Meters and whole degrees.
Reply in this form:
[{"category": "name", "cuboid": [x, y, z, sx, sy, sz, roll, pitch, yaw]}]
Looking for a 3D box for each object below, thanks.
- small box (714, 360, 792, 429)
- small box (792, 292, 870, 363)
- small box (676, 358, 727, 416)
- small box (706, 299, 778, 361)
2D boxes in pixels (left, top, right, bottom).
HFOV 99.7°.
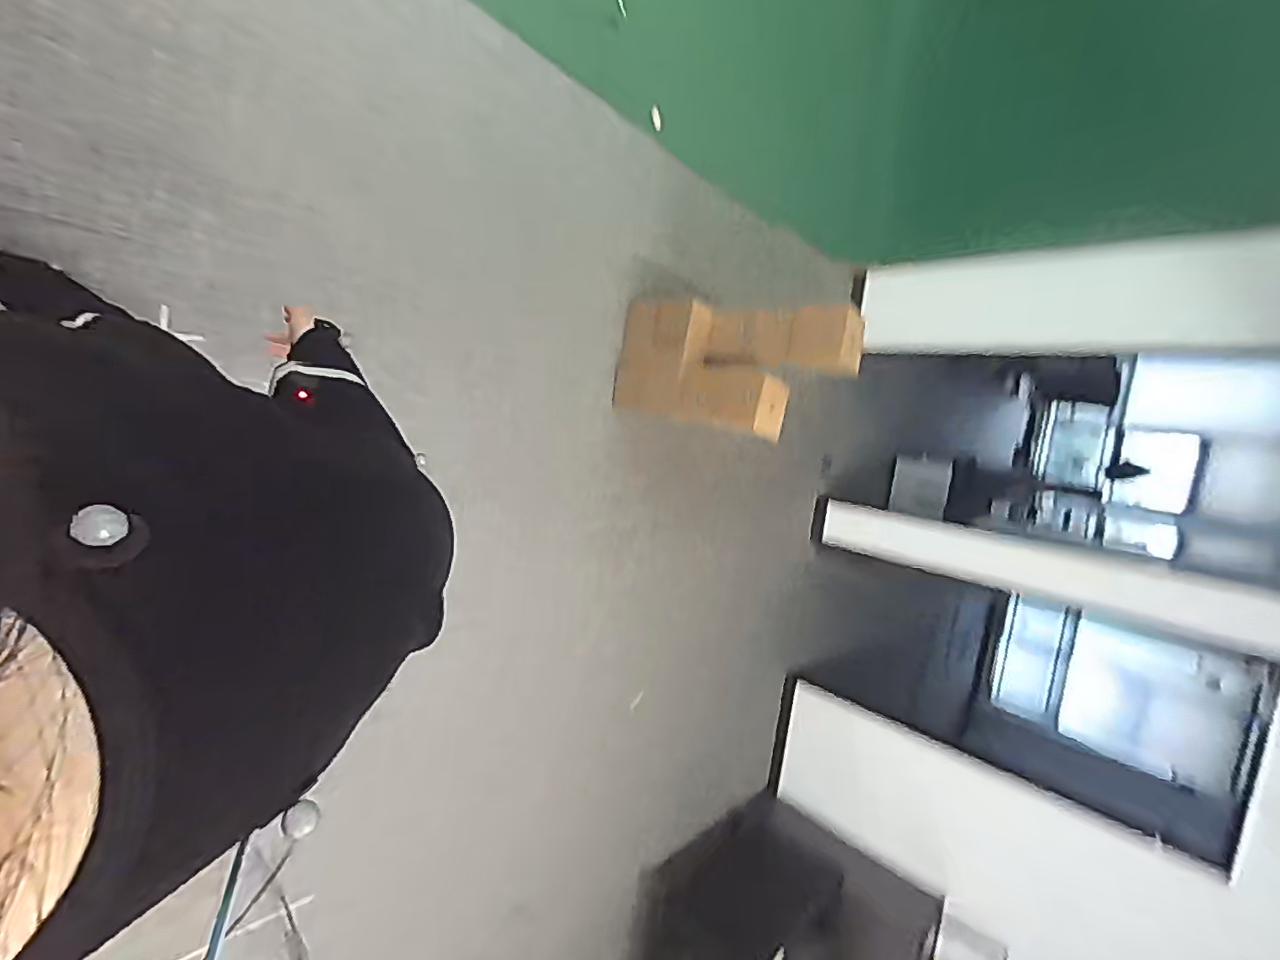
[{"category": "small box", "cuboid": [0.359, -0.275, 1.740, 0.168, 0.176, 0.179, 11, 93, -49]}, {"category": "small box", "cuboid": [0.593, -0.472, 1.688, 0.168, 0.176, 0.179, 7, 95, -49]}, {"category": "small box", "cuboid": [0.249, -0.317, 1.853, 0.179, 0.176, 0.168, 11, 94, -50]}, {"category": "small box", "cuboid": [0.360, -0.530, 1.916, 0.179, 0.176, 0.168, 10, 92, -50]}]
